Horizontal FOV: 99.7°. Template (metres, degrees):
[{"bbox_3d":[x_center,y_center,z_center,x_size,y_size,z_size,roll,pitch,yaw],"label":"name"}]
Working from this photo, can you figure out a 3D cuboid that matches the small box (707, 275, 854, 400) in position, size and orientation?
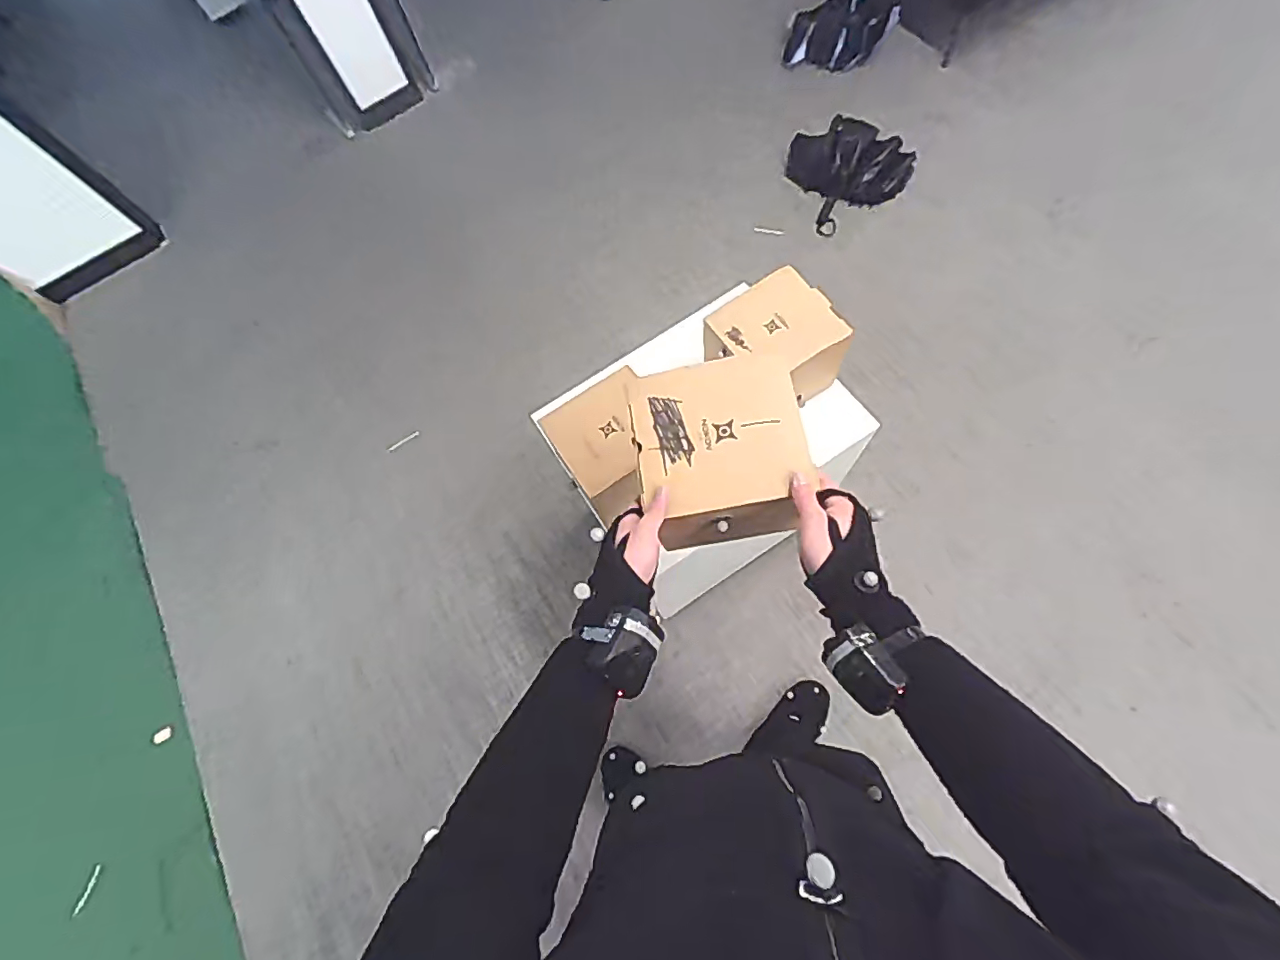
[{"bbox_3d":[0.226,-0.206,0.930,0.179,0.176,0.168,-31,69,-8],"label":"small box"}]

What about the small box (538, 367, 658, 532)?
[{"bbox_3d":[-0.037,-0.043,0.884,0.179,0.176,0.168,-34,68,-9],"label":"small box"}]

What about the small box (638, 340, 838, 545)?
[{"bbox_3d":[0.104,-0.031,0.619,0.179,0.176,0.168,-10,70,3],"label":"small box"}]
